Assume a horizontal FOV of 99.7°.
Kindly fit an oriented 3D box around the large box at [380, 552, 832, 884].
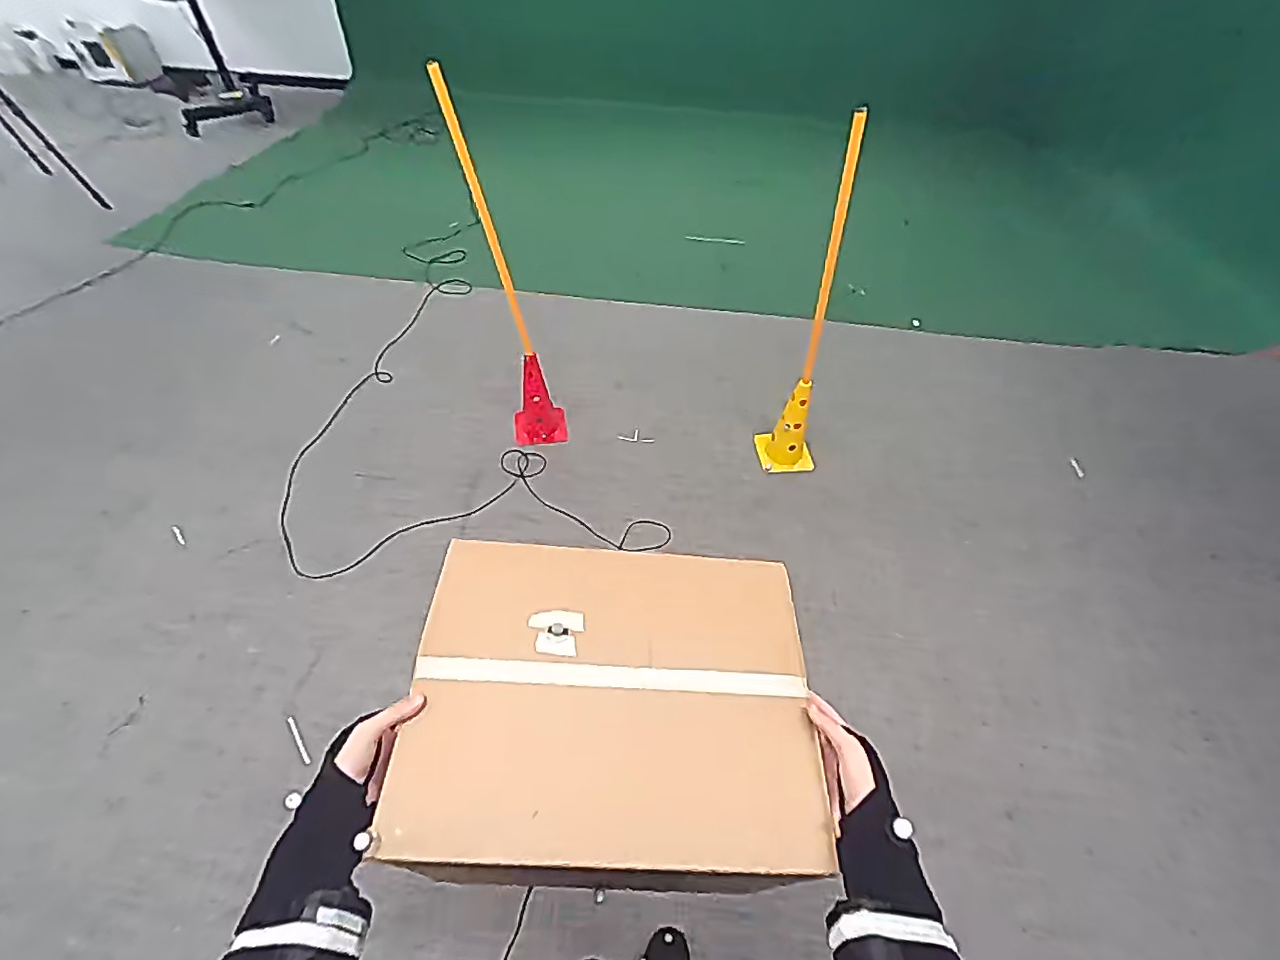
[{"bbox_3d":[-0.035,0.308,0.677,0.408,0.320,0.320,4,49,-3],"label":"large box"}]
